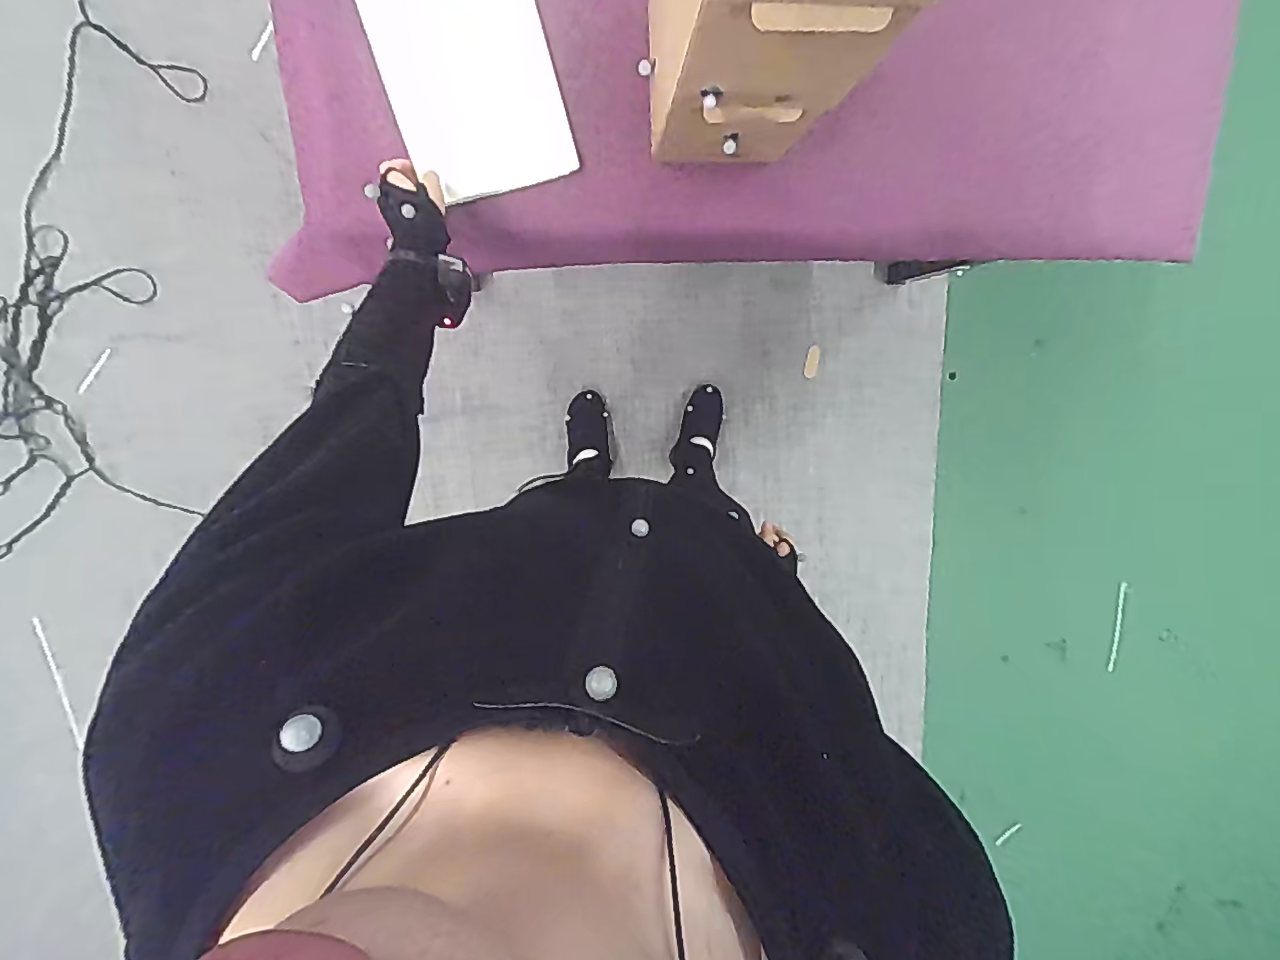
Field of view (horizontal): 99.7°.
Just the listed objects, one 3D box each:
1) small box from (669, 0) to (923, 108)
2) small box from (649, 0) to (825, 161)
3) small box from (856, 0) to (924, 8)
[{"bbox_3d":[0.117,-0.437,0.443,0.168,0.176,0.179,-2,101,-5],"label":"small box"},{"bbox_3d":[0.102,-0.476,0.602,0.168,0.176,0.179,-3,102,-5],"label":"small box"},{"bbox_3d":[0.133,-0.399,0.285,0.168,0.176,0.179,-2,101,-6],"label":"small box"}]
